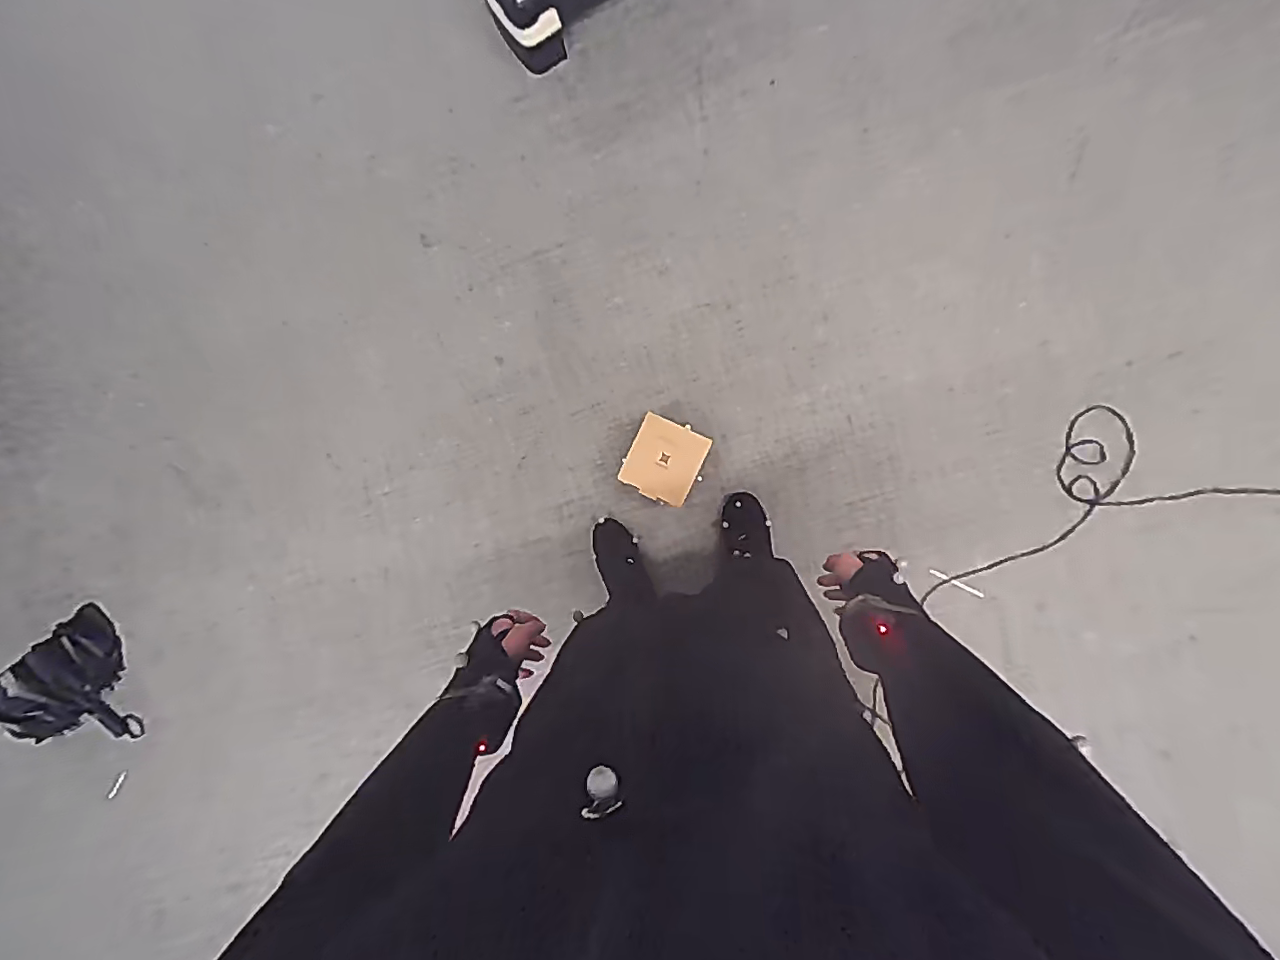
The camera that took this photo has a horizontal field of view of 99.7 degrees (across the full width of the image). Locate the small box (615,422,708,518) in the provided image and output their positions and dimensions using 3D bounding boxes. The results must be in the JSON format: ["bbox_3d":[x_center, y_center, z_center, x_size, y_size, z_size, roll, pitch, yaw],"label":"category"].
[{"bbox_3d":[0.056,-0.024,1.324,0.168,0.176,0.179,25,92,4],"label":"small box"}]
